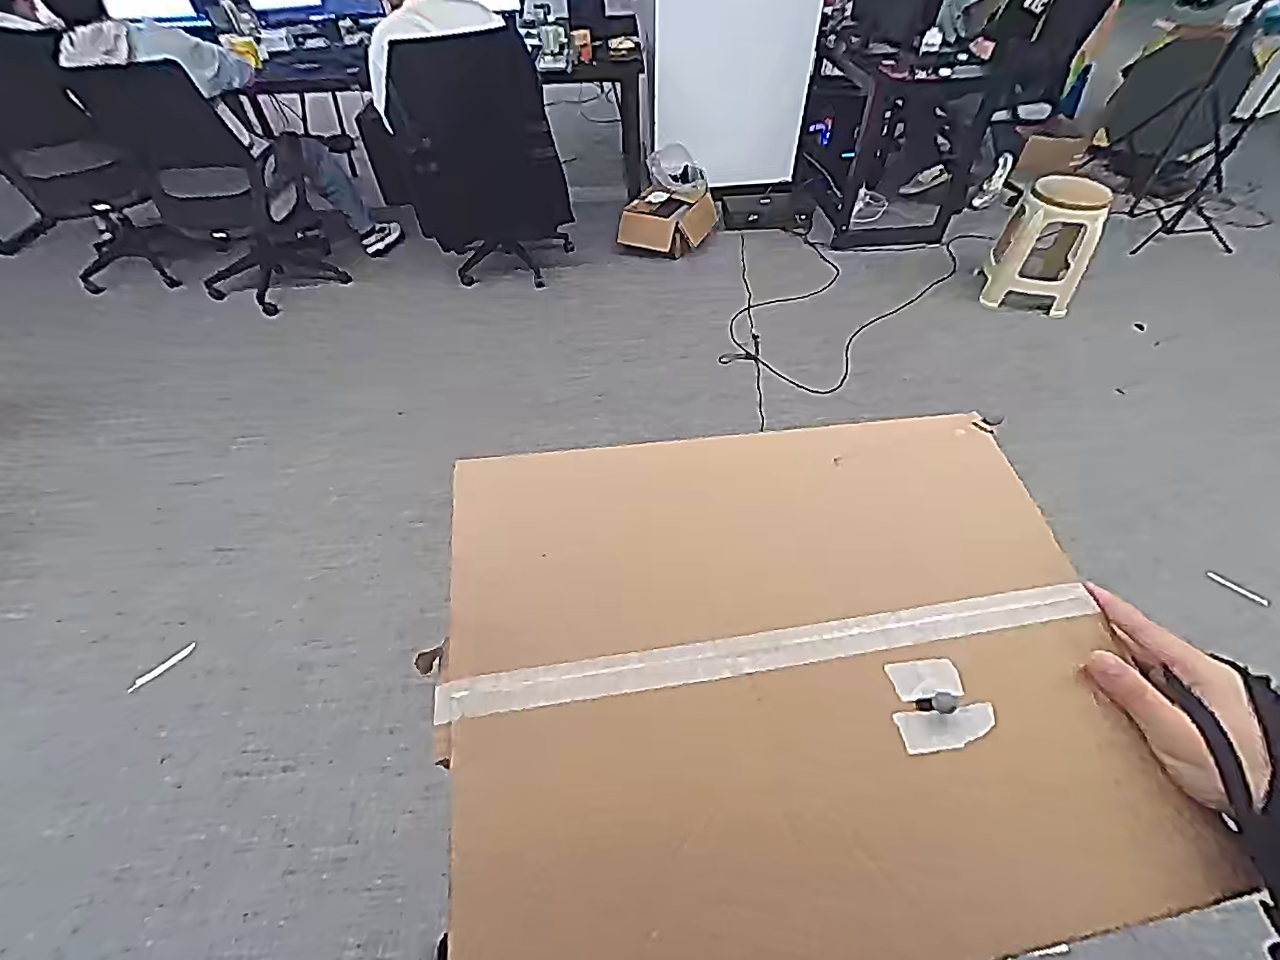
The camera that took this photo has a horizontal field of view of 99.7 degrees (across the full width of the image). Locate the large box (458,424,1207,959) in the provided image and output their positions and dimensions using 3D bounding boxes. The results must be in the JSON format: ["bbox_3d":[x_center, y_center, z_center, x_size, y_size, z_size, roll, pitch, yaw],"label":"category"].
[{"bbox_3d":[0.079,0.182,0.464,0.408,0.320,0.320,-6,60,-9],"label":"large box"}]
